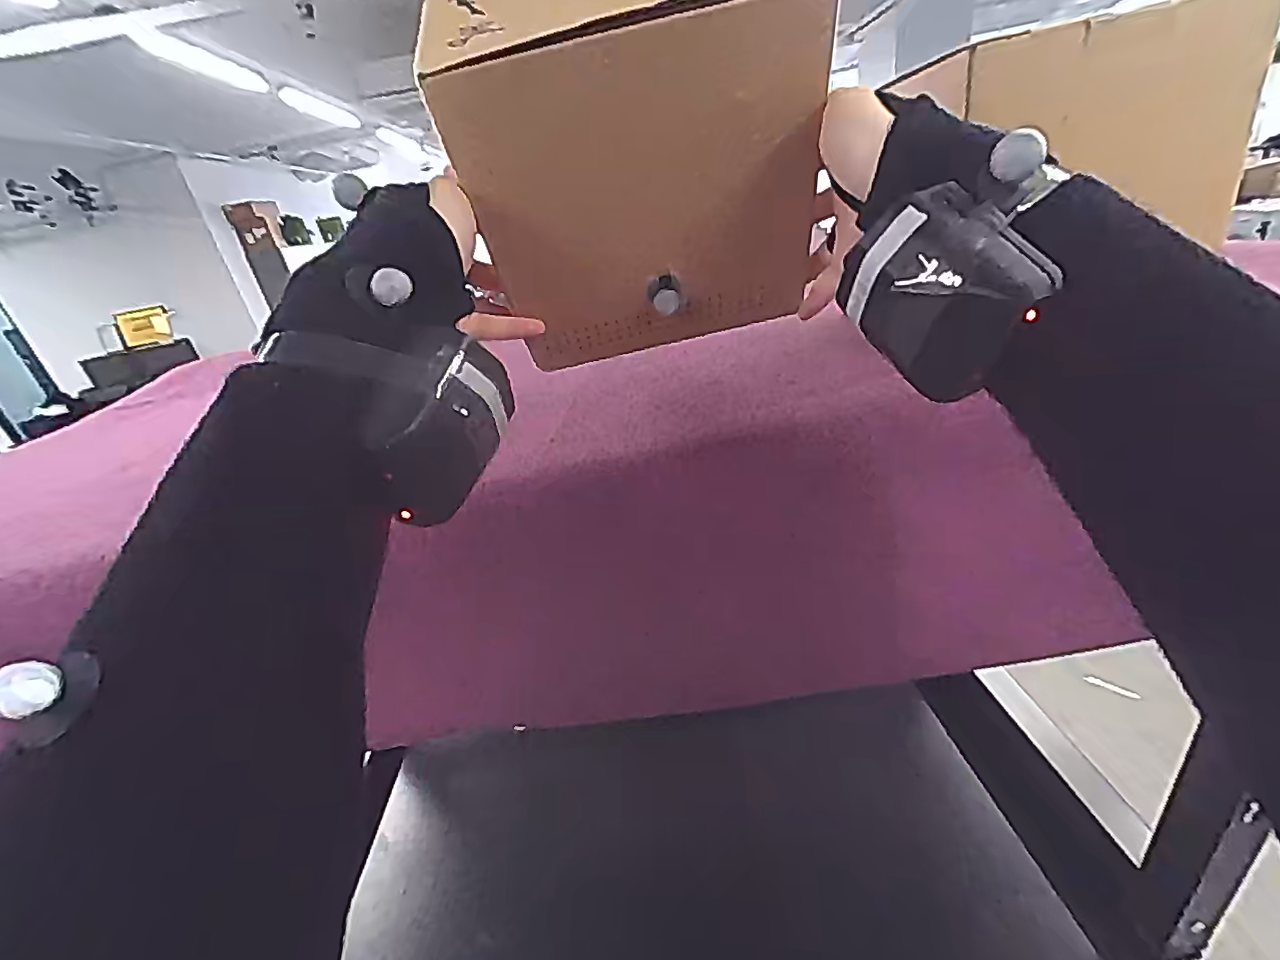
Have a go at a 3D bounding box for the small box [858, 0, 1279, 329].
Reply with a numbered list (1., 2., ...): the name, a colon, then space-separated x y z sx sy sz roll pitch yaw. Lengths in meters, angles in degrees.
1. small box: 0.269 -0.215 0.392 0.168 0.176 0.179 -10 26 4

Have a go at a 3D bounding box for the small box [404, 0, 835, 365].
1. small box: -0.010 -0.195 0.320 0.179 0.176 0.168 -13 52 0
